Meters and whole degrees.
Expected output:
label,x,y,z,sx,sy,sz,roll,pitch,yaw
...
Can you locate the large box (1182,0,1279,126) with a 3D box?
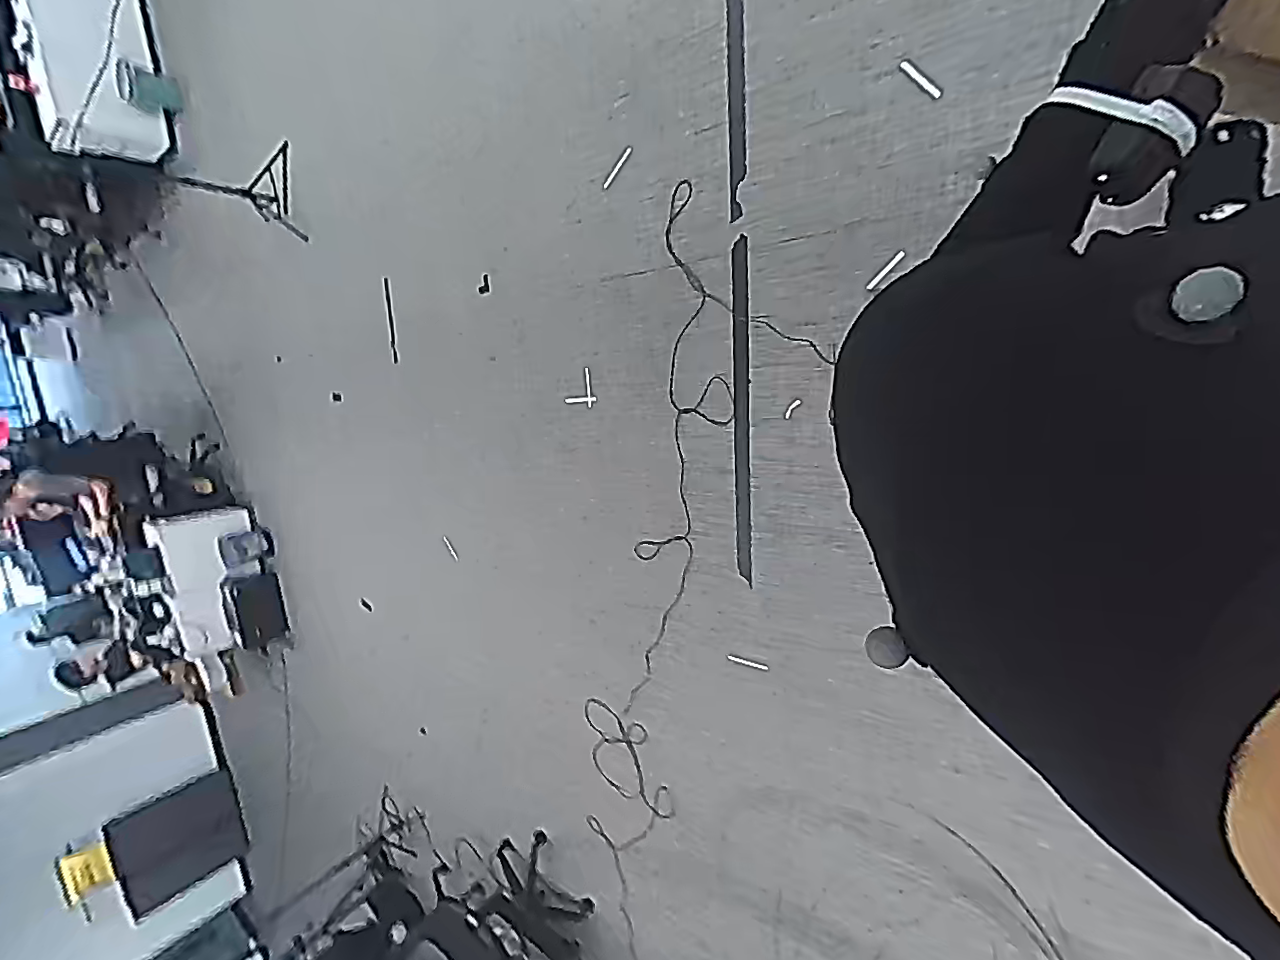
label,x,y,z,sx,sy,sz,roll,pitch,yaw
large box,0.633,-0.354,0.281,0.408,0.320,0.320,35,132,26
